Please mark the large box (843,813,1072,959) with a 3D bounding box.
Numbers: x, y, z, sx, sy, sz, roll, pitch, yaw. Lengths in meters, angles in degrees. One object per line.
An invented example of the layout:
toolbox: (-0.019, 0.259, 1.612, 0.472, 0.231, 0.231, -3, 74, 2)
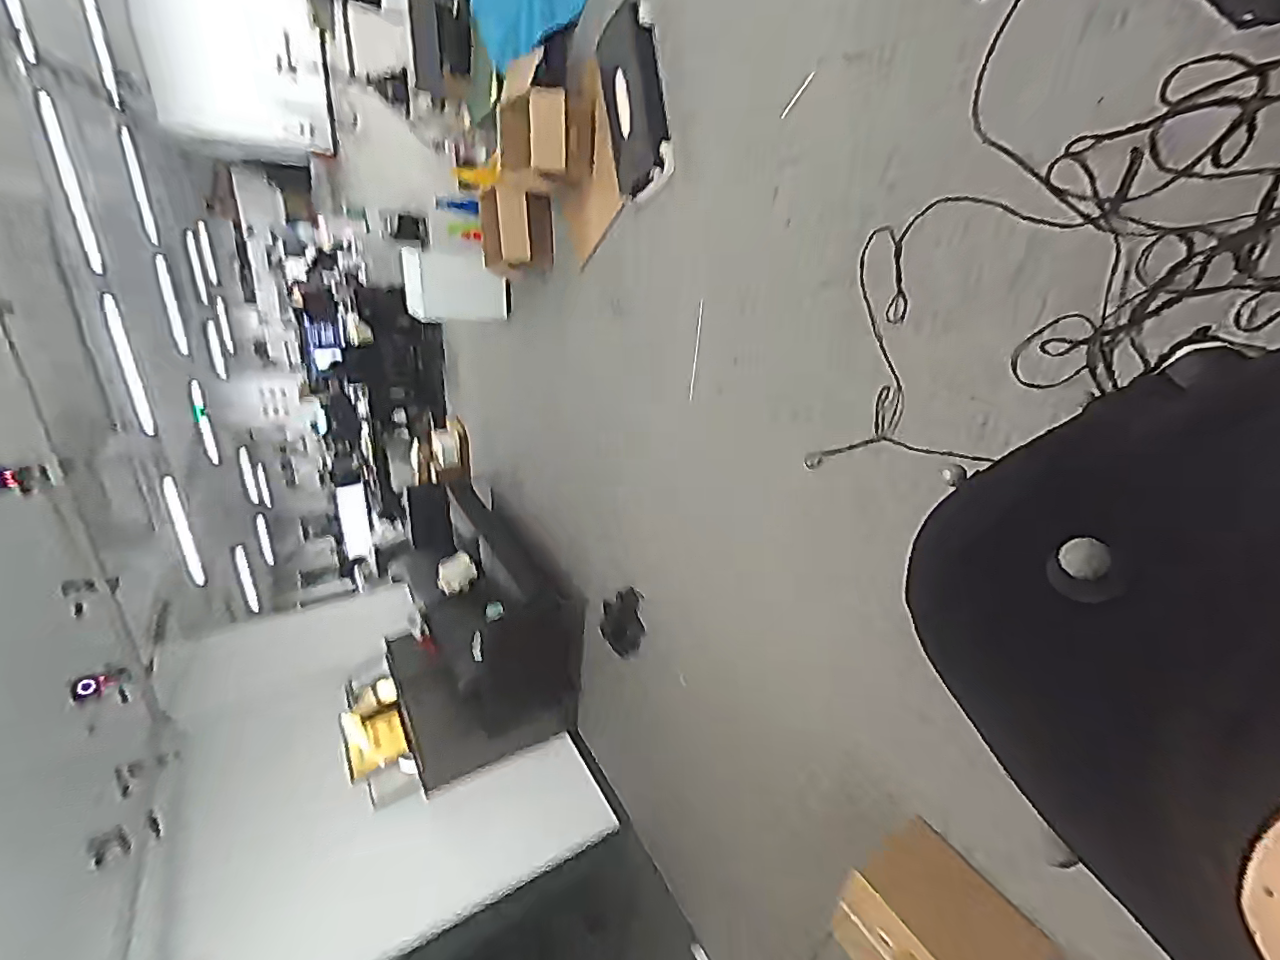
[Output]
large box: (0.850, 1.246, 1.488, 0.408, 0.320, 0.320, 38, 130, 50)
